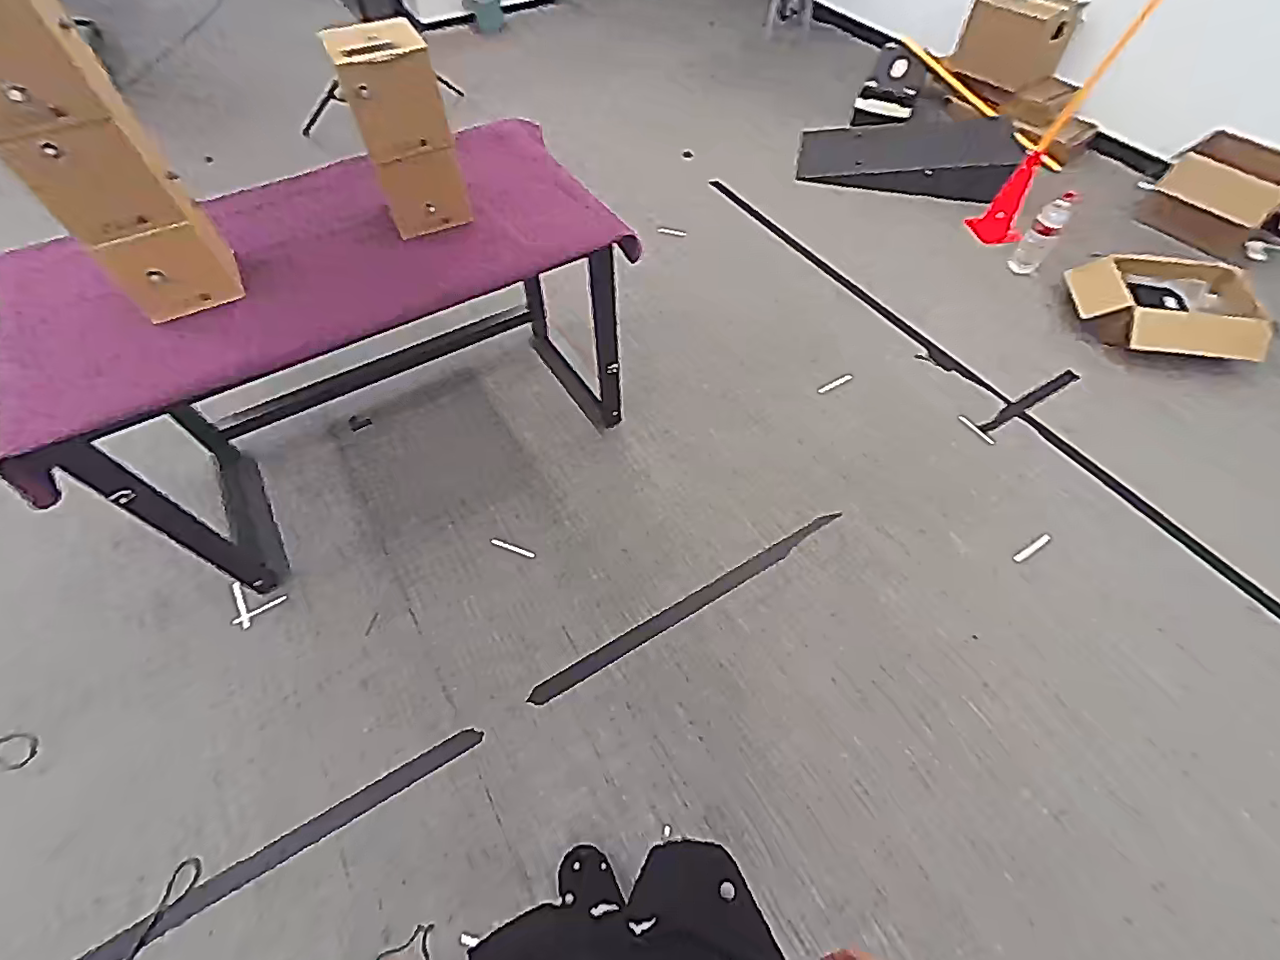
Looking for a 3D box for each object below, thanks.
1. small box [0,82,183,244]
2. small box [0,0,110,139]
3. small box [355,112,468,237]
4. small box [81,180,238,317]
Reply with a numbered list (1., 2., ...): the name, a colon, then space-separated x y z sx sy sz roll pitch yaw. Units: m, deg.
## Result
1. small box: -0.921 -0.532 0.910 0.168 0.176 0.179 -28 61 -17
2. small box: -0.916 -0.622 0.772 0.168 0.176 0.179 -27 62 -17
3. small box: -0.501 -0.674 1.198 0.168 0.176 0.179 -23 60 -14
4. small box: -0.919 -0.438 1.045 0.168 0.176 0.179 -27 61 -17
